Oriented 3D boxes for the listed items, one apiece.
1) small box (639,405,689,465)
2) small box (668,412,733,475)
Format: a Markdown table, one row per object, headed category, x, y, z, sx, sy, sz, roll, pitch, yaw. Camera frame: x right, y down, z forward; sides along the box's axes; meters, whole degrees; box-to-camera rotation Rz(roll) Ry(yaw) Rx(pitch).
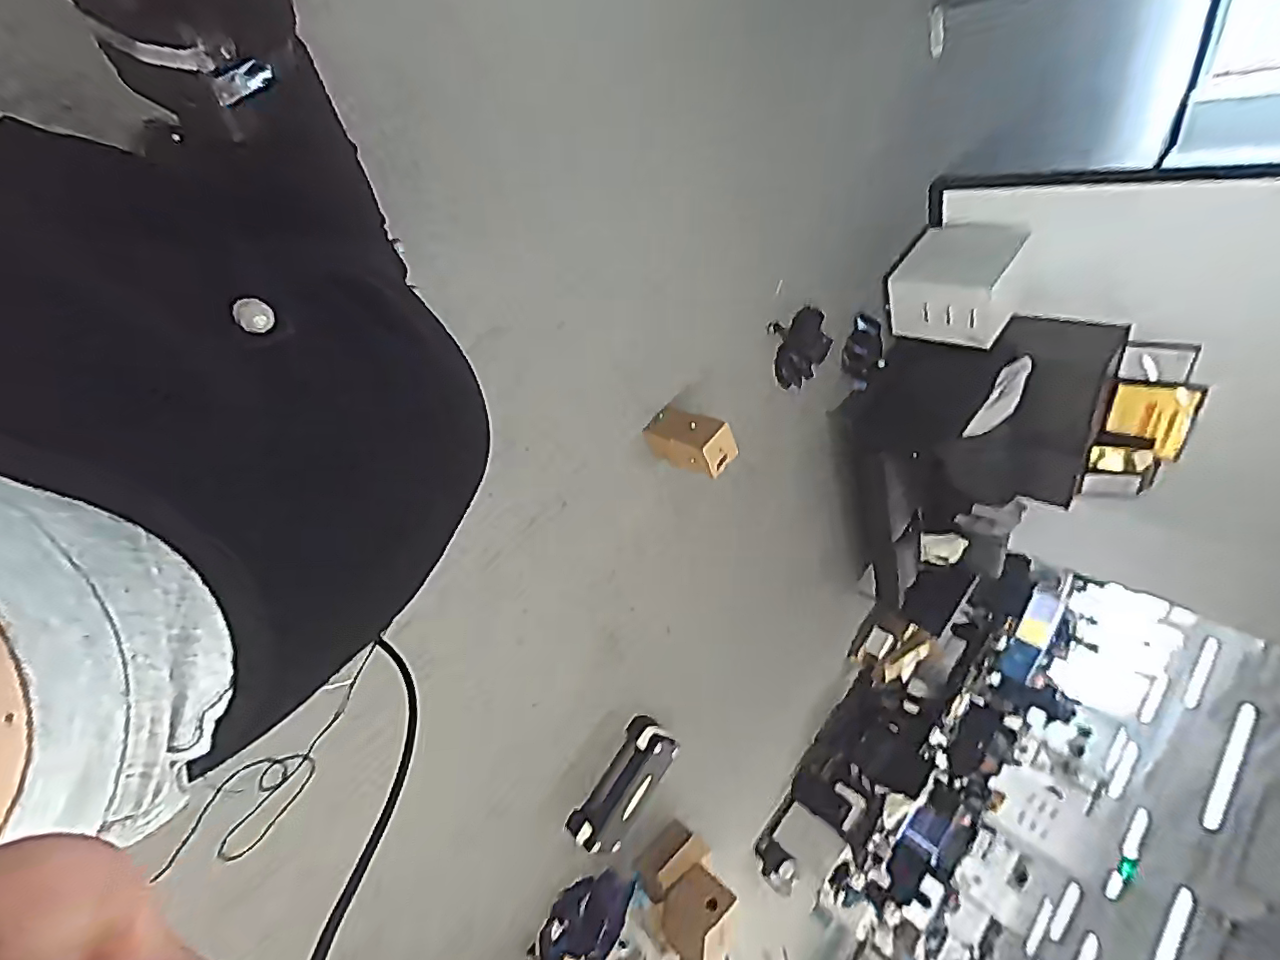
| category | x | y | z | sx | sy | sz | roll | pitch | yaw |
| --- | --- | --- | --- | --- | --- | --- | --- | --- | --- |
| small box | 0.128 | -0.195 | 2.287 | 0.168 | 0.176 | 0.179 | -49 | 135 | -19 |
| small box | 0.244 | -0.152 | 2.178 | 0.168 | 0.176 | 0.179 | -48 | 135 | -20 |
